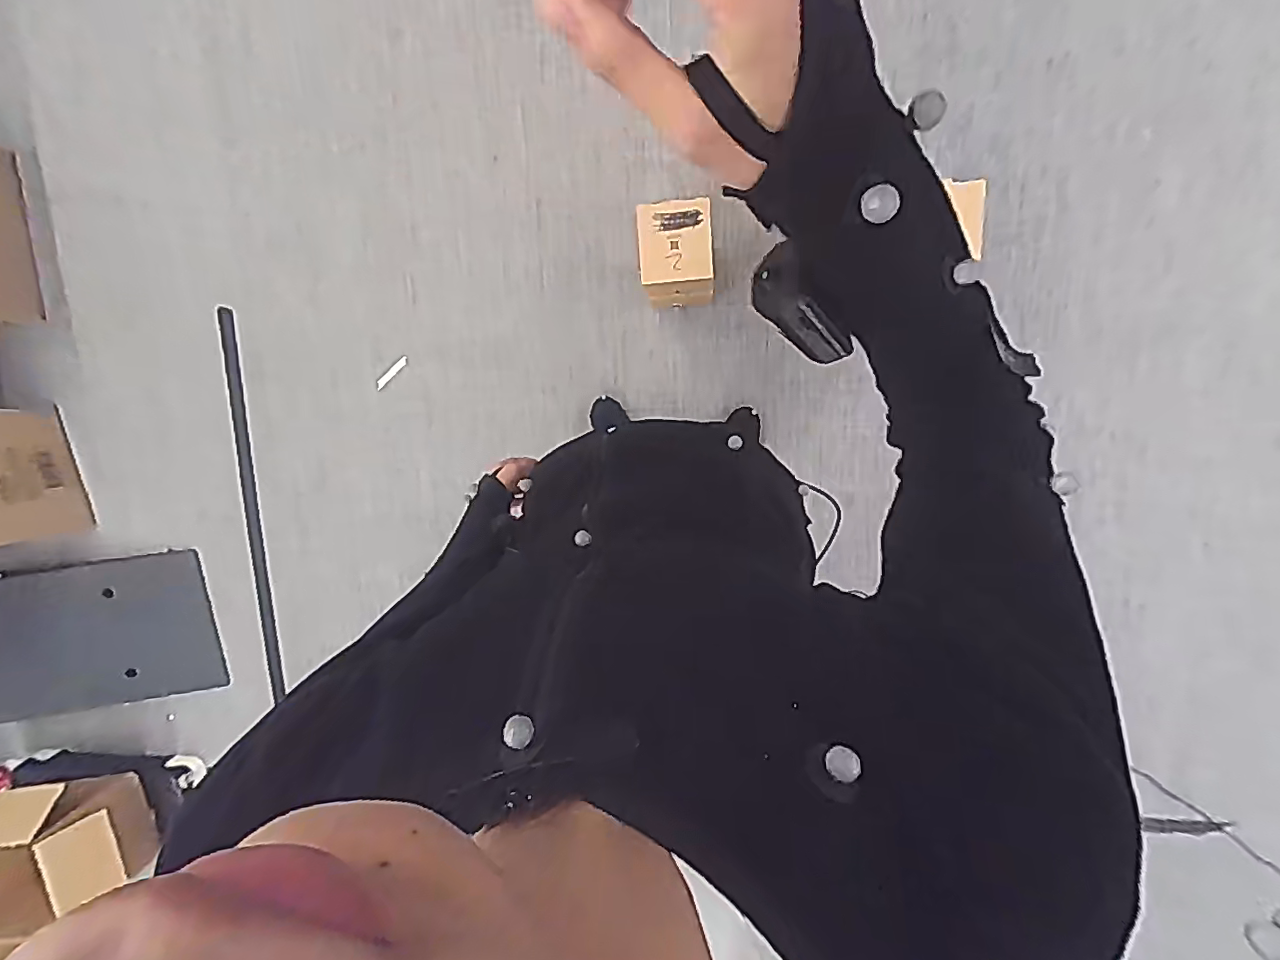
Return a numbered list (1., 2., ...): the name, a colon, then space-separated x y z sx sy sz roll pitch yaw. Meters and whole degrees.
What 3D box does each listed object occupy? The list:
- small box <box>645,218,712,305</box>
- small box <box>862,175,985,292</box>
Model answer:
1. small box: 0.104 -0.578 1.448 0.168 0.176 0.179 -3 98 7
2. small box: 0.559 -0.486 1.087 0.168 0.176 0.179 1 99 5
